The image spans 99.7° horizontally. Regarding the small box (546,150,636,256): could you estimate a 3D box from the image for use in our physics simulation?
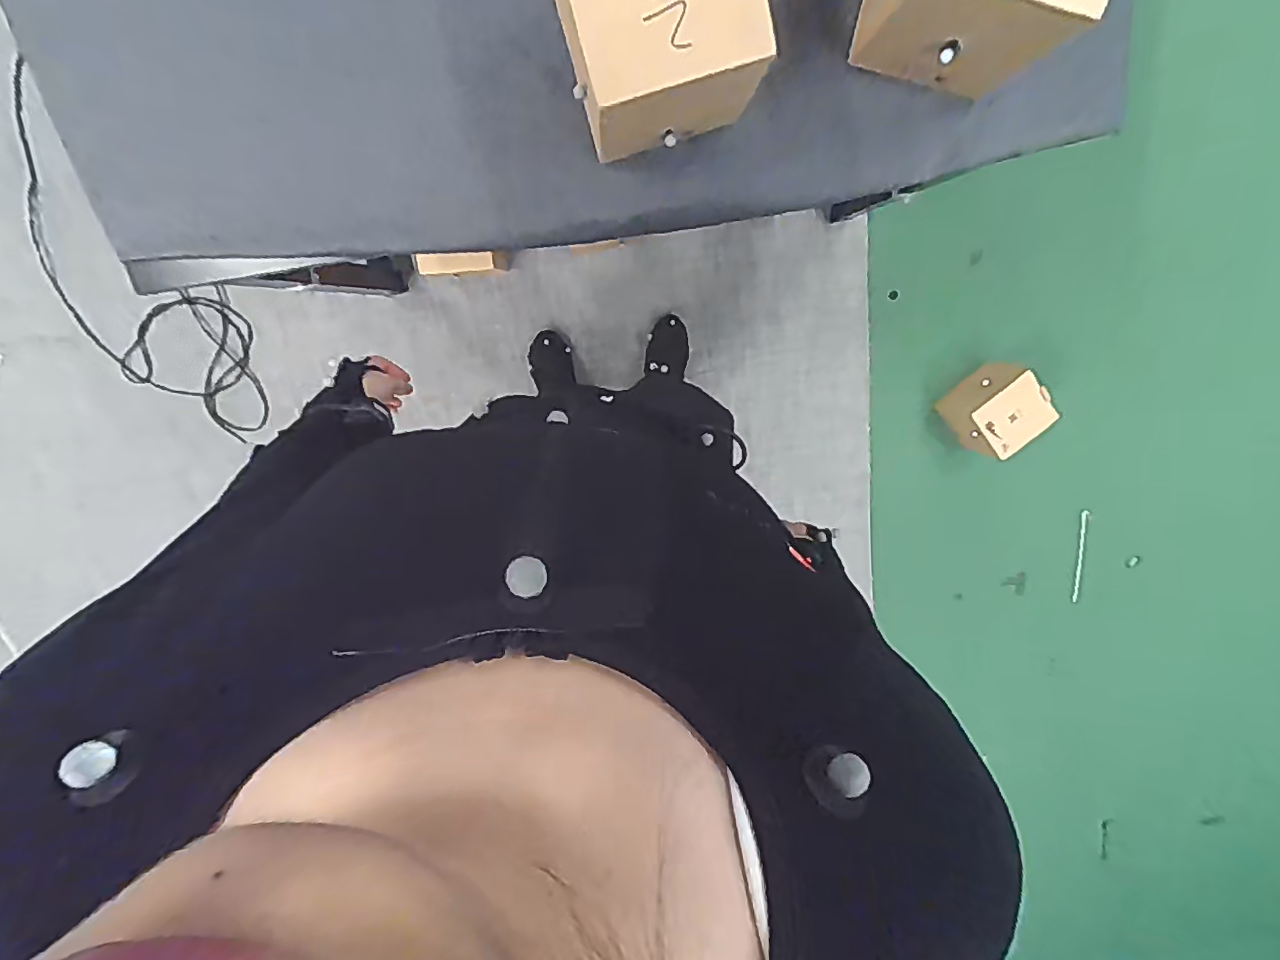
[{"bbox_3d":[-0.107,-0.618,1.229,0.168,0.176,0.179,-12,107,-1],"label":"small box"}]

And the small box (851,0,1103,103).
[{"bbox_3d":[0.330,-0.508,0.524,0.168,0.176,0.179,10,104,-7],"label":"small box"}]

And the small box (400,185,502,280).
[{"bbox_3d":[-0.419,-0.553,1.230,0.168,0.176,0.179,-6,107,-2],"label":"small box"}]

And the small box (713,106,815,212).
[{"bbox_3d":[0.269,-0.714,1.223,0.179,0.176,0.168,2,107,-6],"label":"small box"}]

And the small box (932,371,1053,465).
[{"bbox_3d":[0.927,-0.173,1.436,0.179,0.176,0.168,-41,105,8],"label":"small box"}]
